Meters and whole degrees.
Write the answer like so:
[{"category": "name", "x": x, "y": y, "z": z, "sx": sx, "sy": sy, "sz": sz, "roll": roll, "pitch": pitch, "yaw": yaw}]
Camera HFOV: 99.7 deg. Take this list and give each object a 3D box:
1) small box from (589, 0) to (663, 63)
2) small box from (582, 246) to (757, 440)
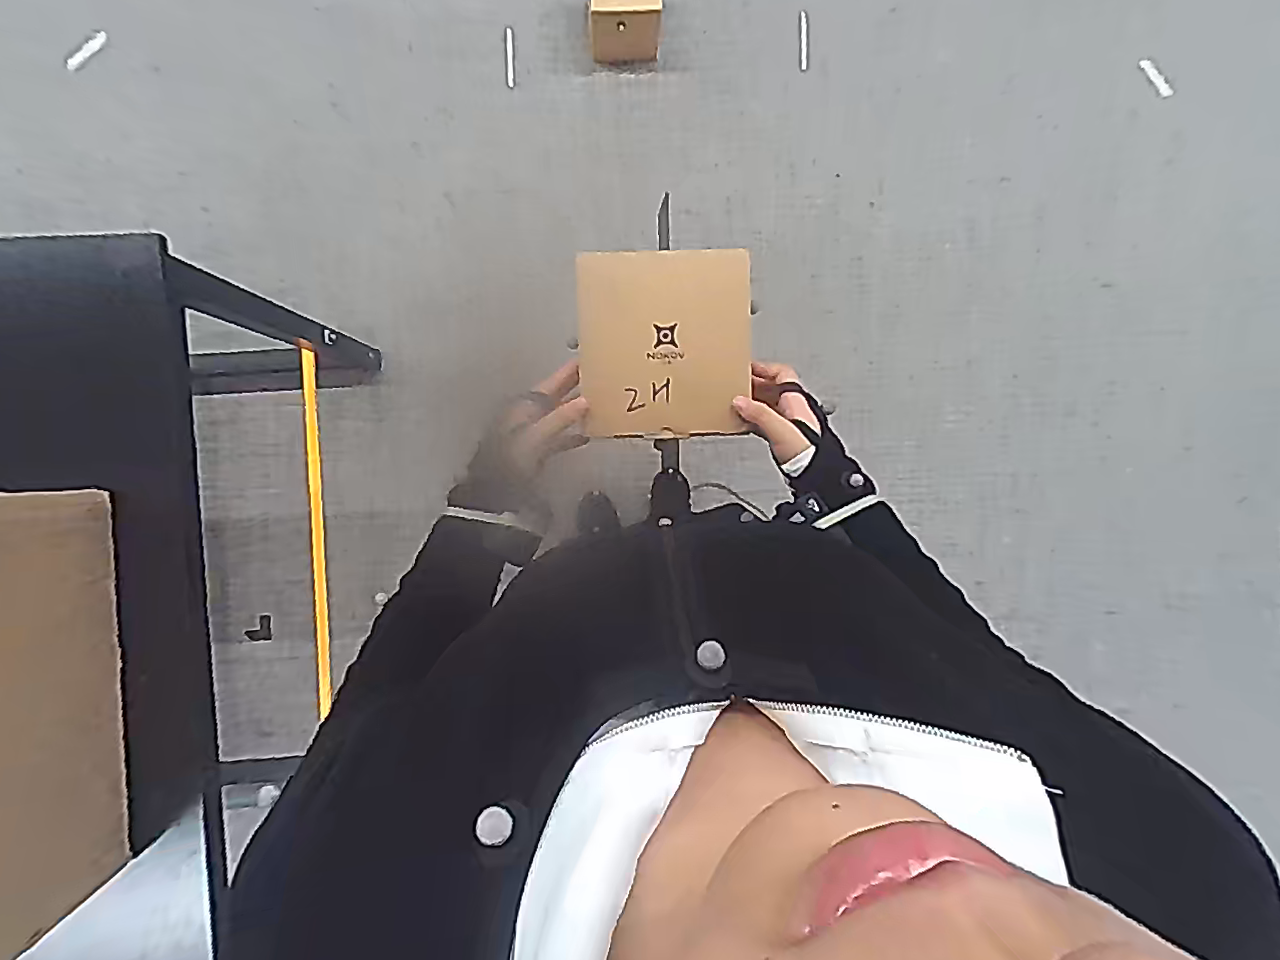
[{"category": "small box", "x": -0.040, "y": -1.201, "z": 1.372, "sx": 0.179, "sy": 0.176, "sz": 0.168, "roll": -5, "pitch": 92, "yaw": -3}, {"category": "small box", "x": 0.027, "y": -0.133, "z": 0.584, "sx": 0.168, "sy": 0.176, "sz": 0.179, "roll": -2, "pitch": 94, "yaw": 0}]
